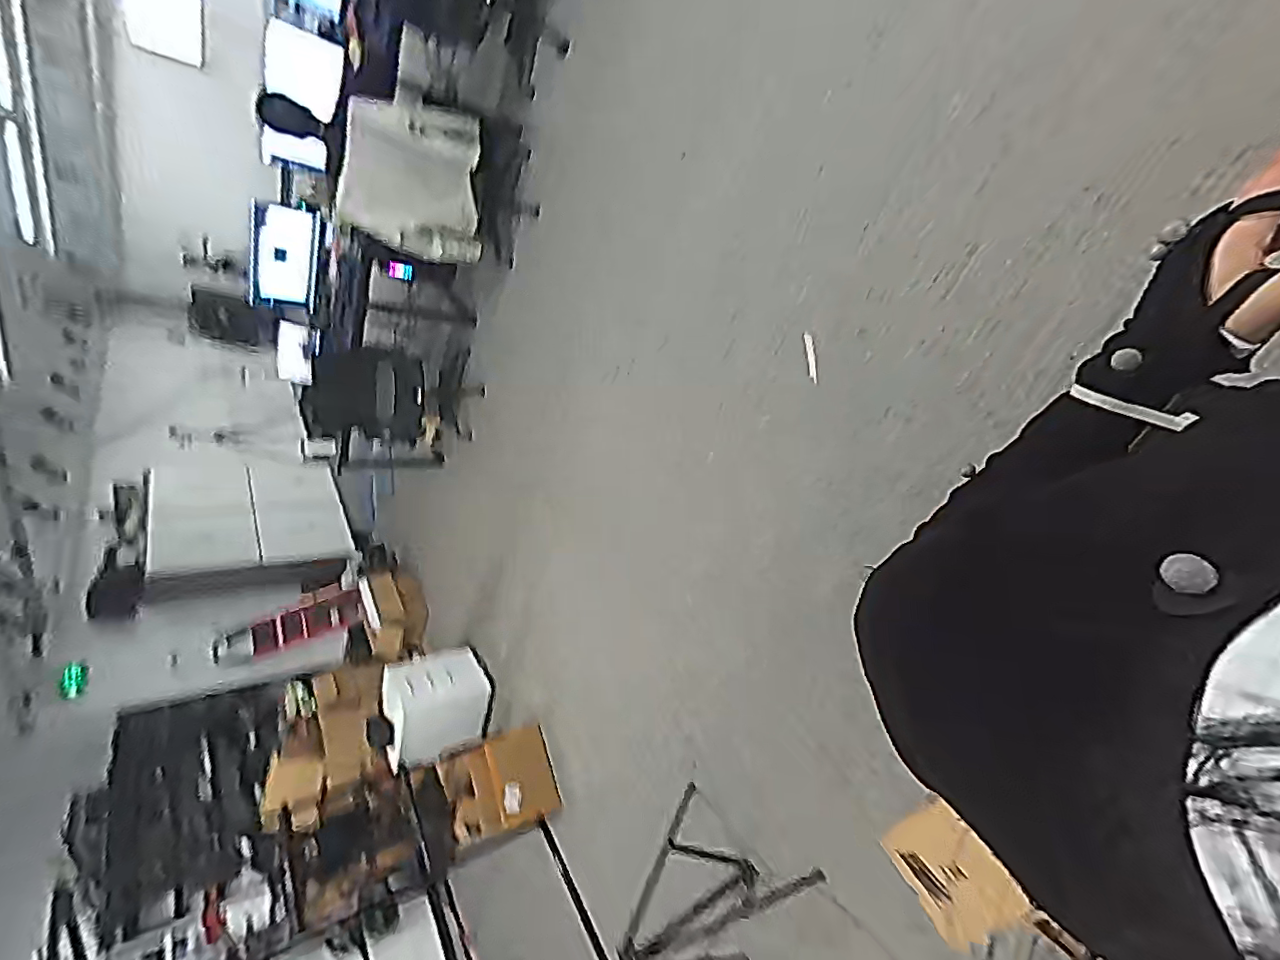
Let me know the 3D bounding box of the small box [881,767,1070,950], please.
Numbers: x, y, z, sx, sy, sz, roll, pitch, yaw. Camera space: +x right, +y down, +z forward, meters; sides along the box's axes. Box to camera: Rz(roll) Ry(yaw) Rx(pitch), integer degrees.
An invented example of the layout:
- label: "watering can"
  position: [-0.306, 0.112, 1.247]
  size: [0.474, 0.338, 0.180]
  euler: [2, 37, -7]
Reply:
- label: "small box"
  position: [0.543, 0.604, 0.878]
  size: [0.168, 0.176, 0.179]
  euler: [55, 128, 35]
